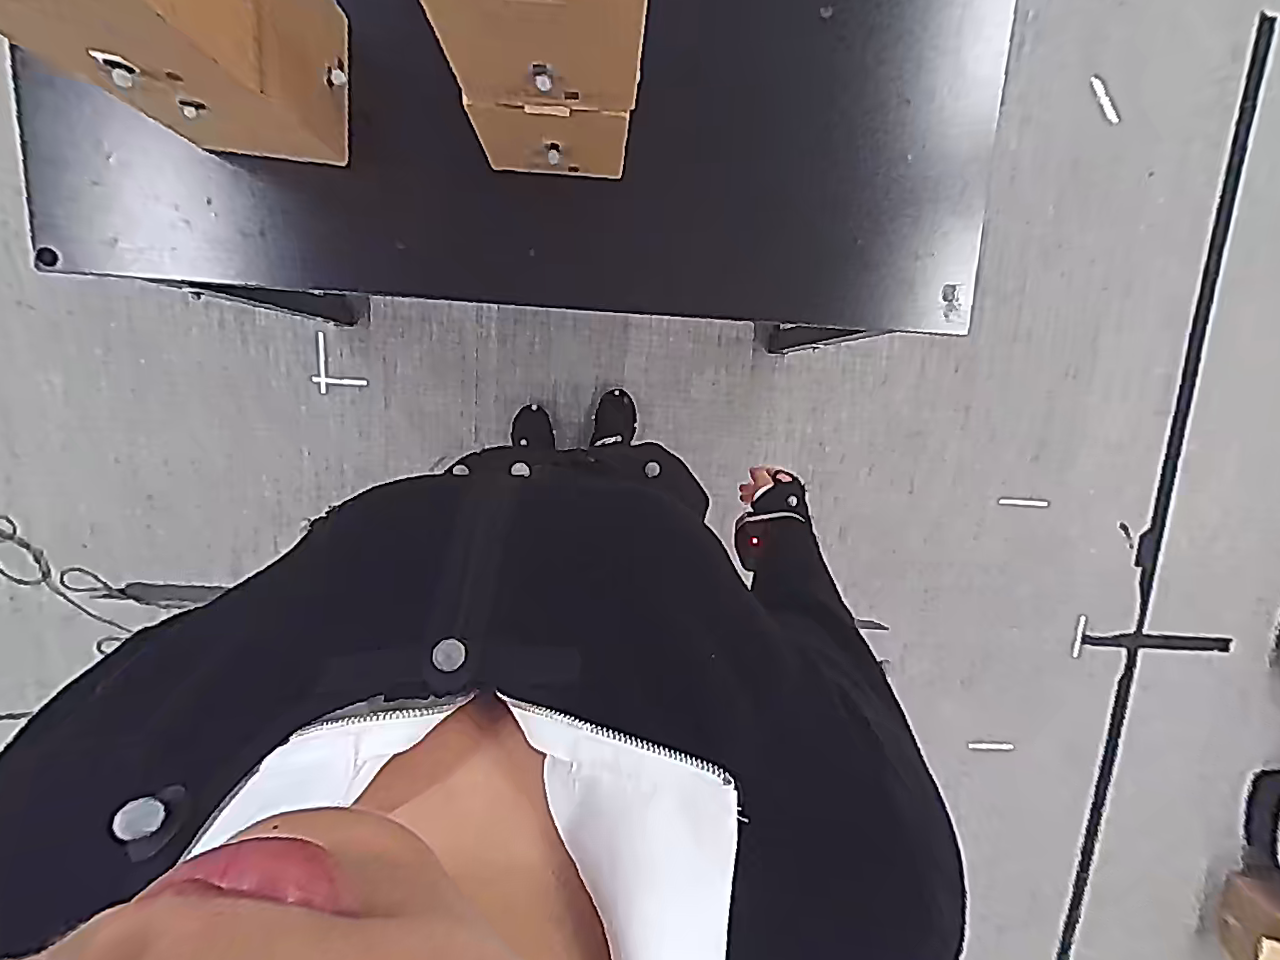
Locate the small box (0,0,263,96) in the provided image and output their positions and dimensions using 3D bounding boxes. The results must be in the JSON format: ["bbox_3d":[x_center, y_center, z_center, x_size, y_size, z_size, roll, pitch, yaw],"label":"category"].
[{"bbox_3d":[-0.422,-0.438,0.410,0.168,0.176,0.179,3,100,-4],"label":"small box"}]

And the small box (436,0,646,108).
[{"bbox_3d":[-0.079,-0.444,0.435,0.168,0.176,0.179,2,99,-4],"label":"small box"}]

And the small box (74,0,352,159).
[{"bbox_3d":[-0.433,-0.465,0.570,0.179,0.176,0.168,4,99,-6],"label":"small box"}]

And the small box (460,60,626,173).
[{"bbox_3d":[-0.096,-0.465,0.599,0.168,0.176,0.179,2,99,-5],"label":"small box"}]
